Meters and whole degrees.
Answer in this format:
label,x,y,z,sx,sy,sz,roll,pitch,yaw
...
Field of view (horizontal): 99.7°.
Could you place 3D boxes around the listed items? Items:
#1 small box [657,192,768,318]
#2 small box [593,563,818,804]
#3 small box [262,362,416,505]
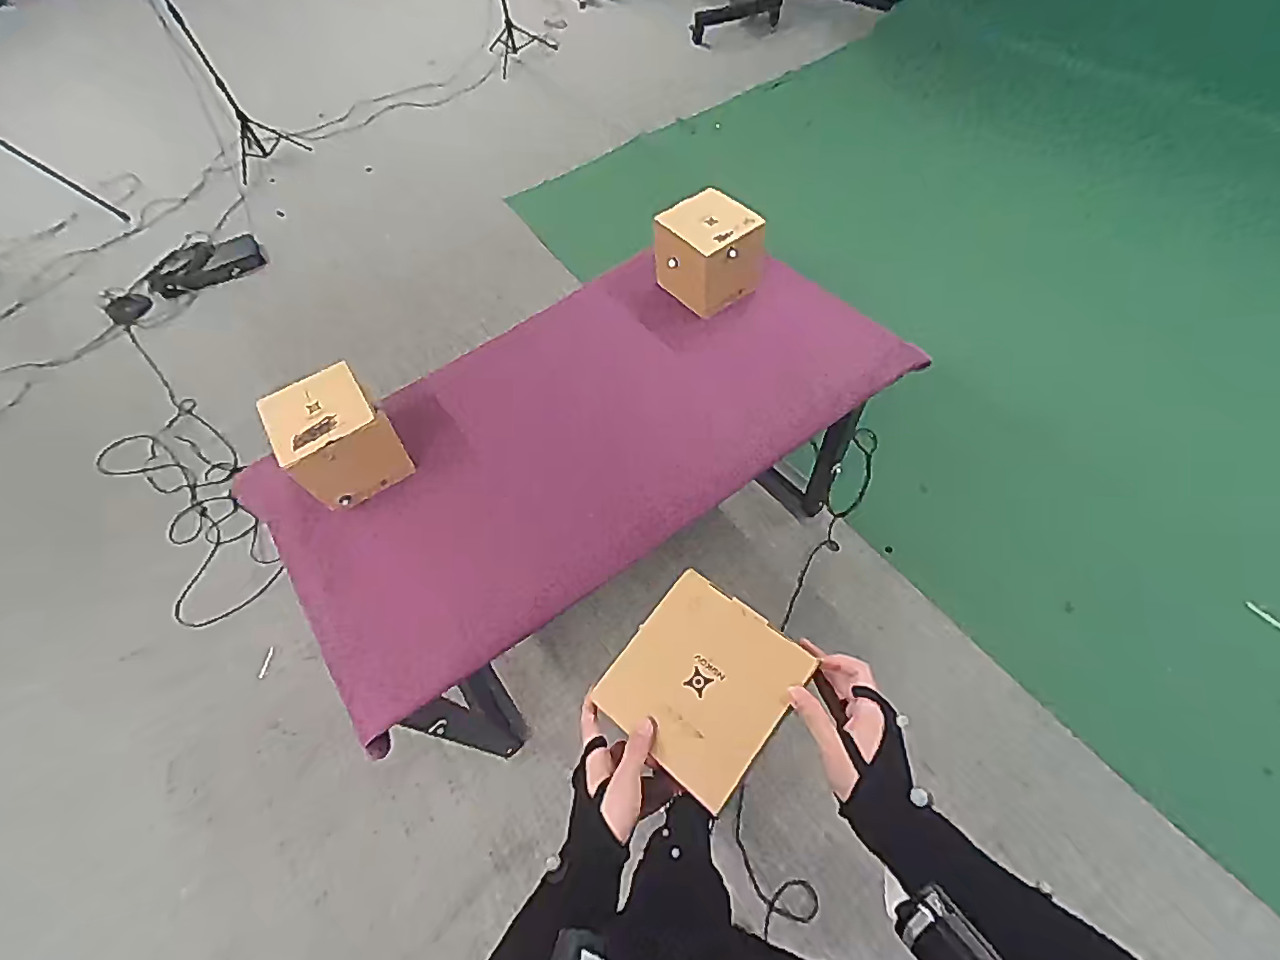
label,x,y,z,sx,sy,sz,roll,pitch,yaw
small box,0.155,-0.493,1.195,0.168,0.176,0.179,-35,61,-14
small box,0.078,0.231,0.617,0.168,0.176,0.179,33,74,27
small box,-0.547,-0.076,1.001,0.168,0.176,0.179,-31,61,-14
